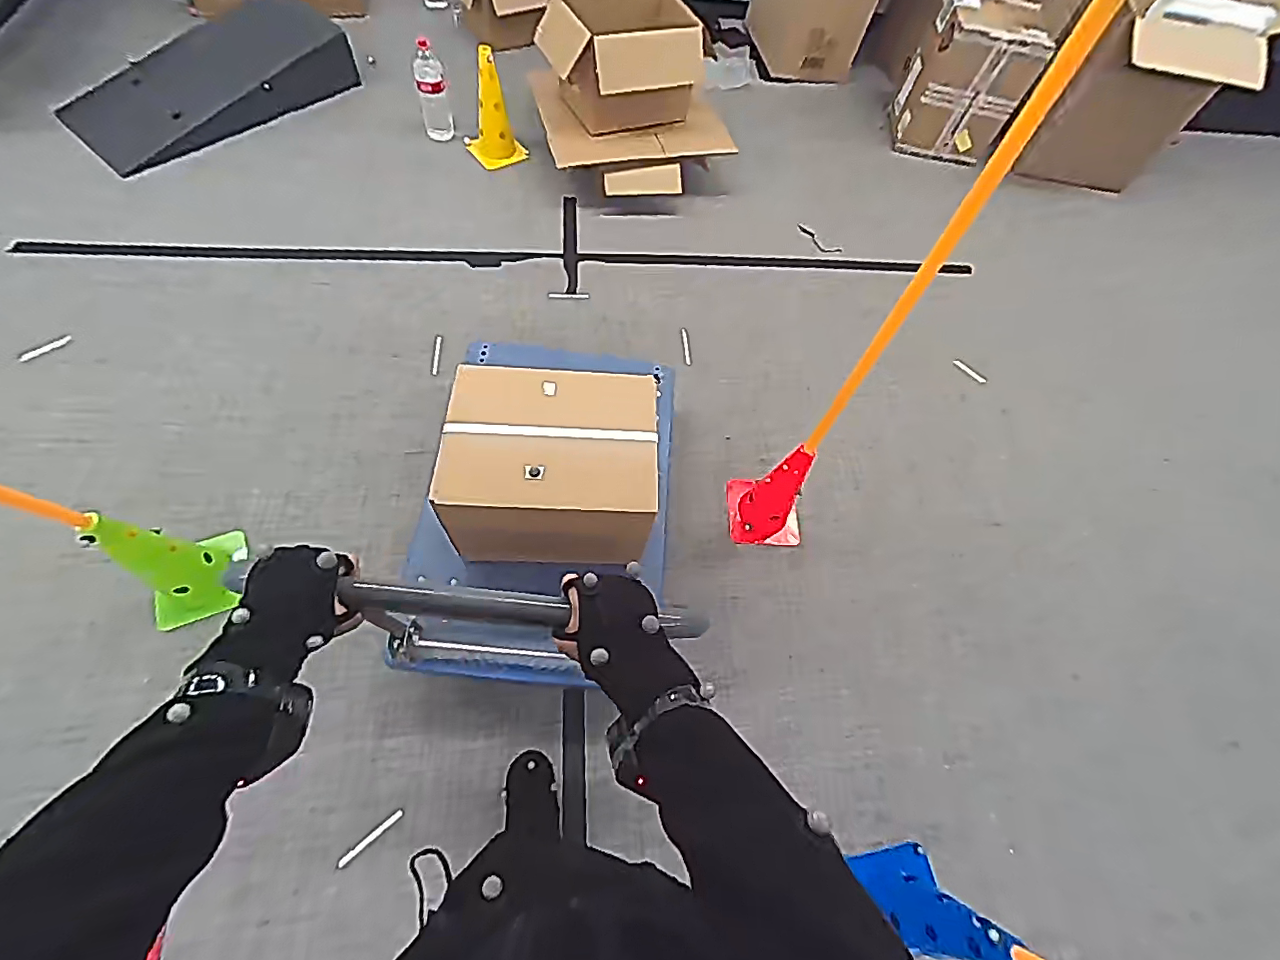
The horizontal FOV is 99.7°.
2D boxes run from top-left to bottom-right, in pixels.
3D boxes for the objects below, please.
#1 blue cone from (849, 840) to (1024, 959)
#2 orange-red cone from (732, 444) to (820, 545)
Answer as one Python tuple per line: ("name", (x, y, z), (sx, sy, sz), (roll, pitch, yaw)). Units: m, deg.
("blue cone", (0.573, 0.815, 1.008), (0.193, 0.380, 0.192), (-5, 62, -9))
("orange-red cone", (0.378, 0.011, 1.390), (0.199, 0.360, 0.198), (5, 63, -5))
